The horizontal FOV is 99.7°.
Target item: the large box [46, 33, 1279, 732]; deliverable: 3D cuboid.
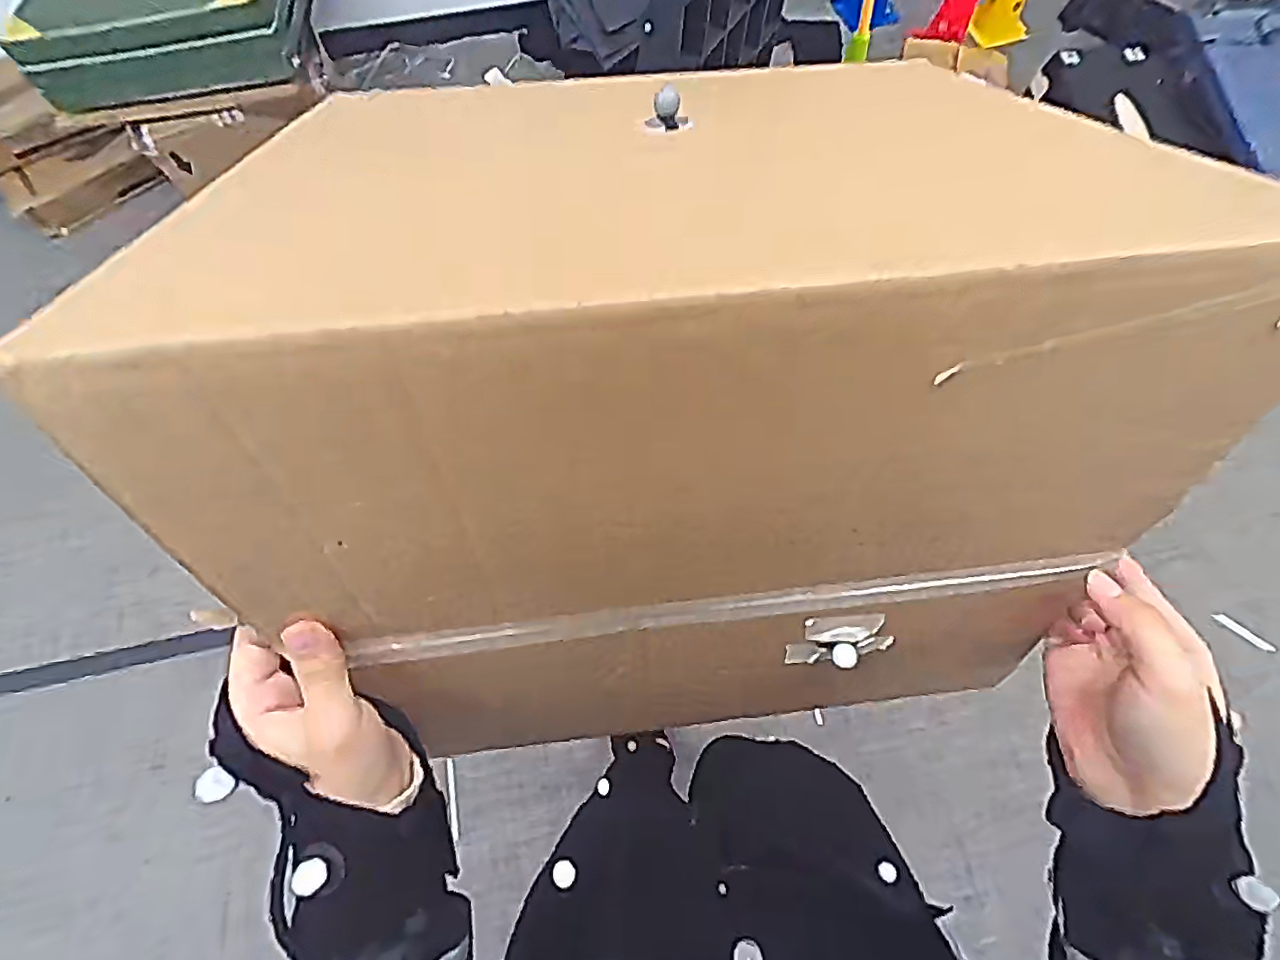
[{"bbox_3d":[0.024,-0.072,0.360,0.408,0.320,0.320,-7,46,-3],"label":"large box"}]
